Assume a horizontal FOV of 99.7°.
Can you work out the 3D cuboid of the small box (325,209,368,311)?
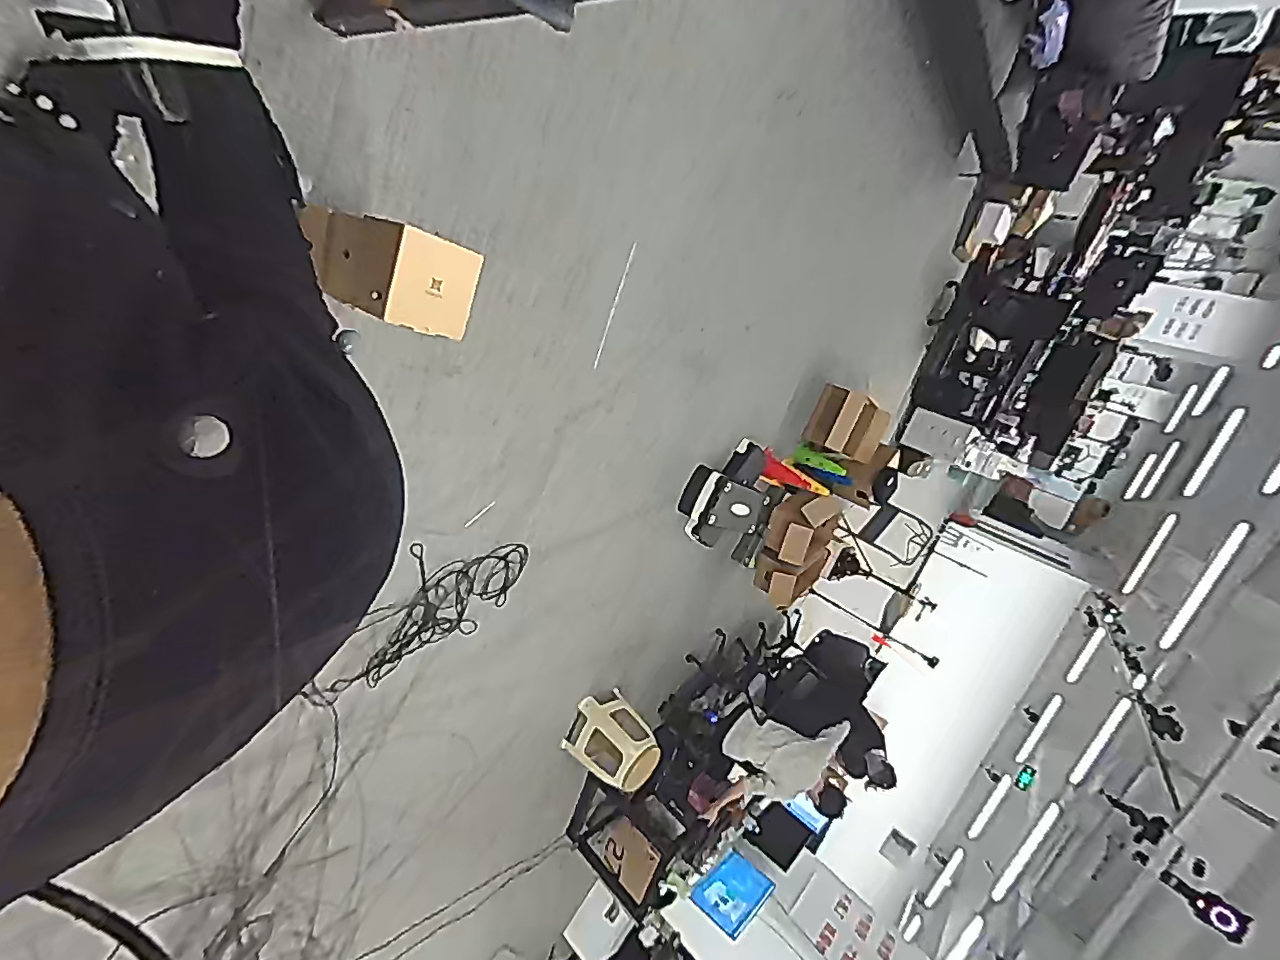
[{"bbox_3d":[-0.553,-0.457,1.159,0.168,0.176,0.179,-2,115,-51],"label":"small box"}]

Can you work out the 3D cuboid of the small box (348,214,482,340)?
[{"bbox_3d":[-0.443,-0.396,1.054,0.168,0.176,0.179,3,112,-52],"label":"small box"}]
